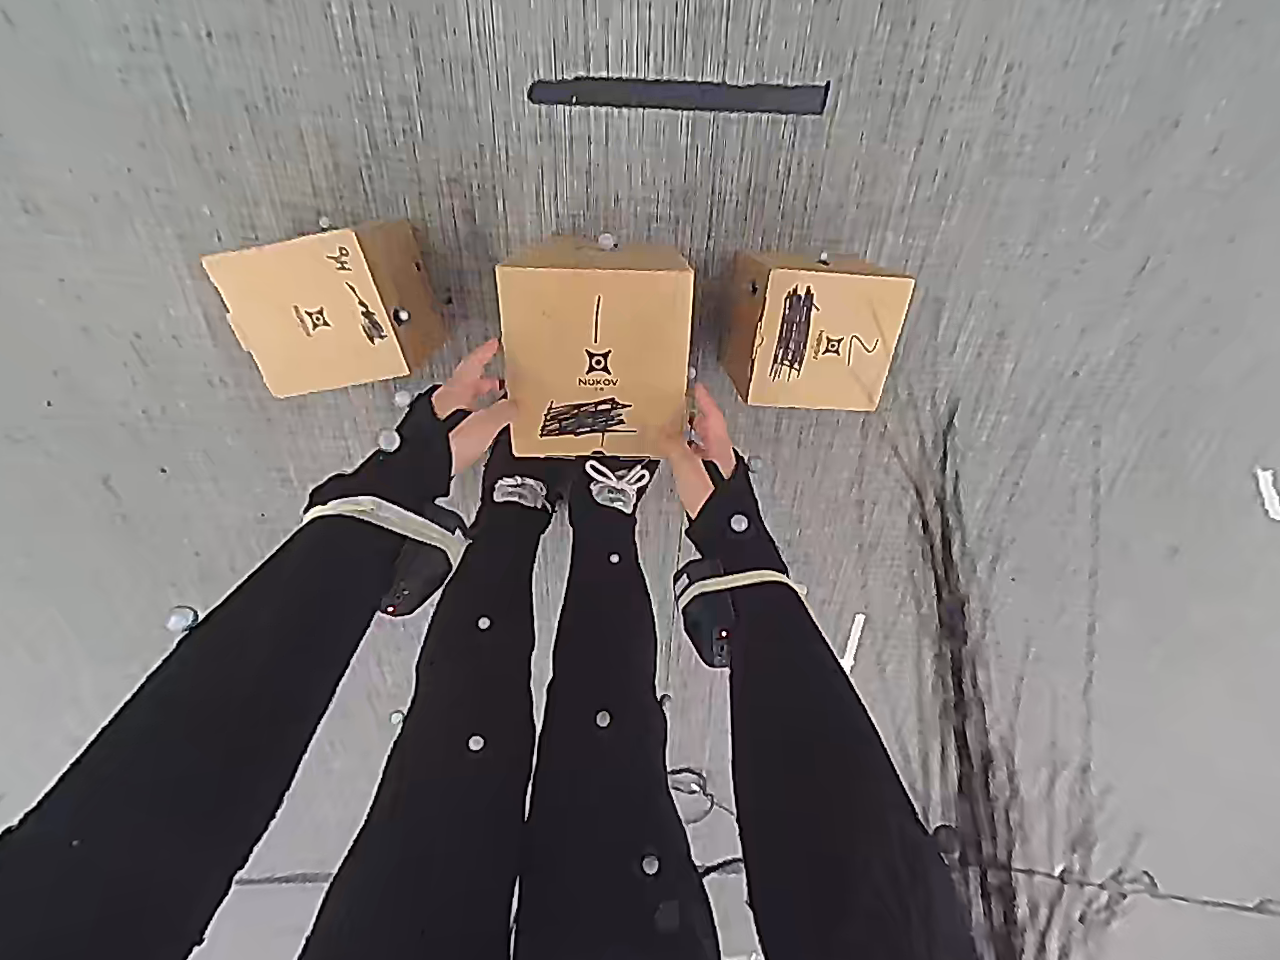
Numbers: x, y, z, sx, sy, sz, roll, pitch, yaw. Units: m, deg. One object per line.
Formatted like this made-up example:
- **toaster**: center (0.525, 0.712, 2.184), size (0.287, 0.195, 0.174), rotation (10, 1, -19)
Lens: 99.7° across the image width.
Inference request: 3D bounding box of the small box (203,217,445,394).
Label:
- **small box**: center (-0.374, -0.224, 0.680), size (0.179, 0.176, 0.168), rotation (-9, 120, 3)

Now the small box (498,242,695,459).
- **small box**: center (-0.041, -0.137, 0.554), size (0.168, 0.176, 0.179), rotation (1, 119, -3)
